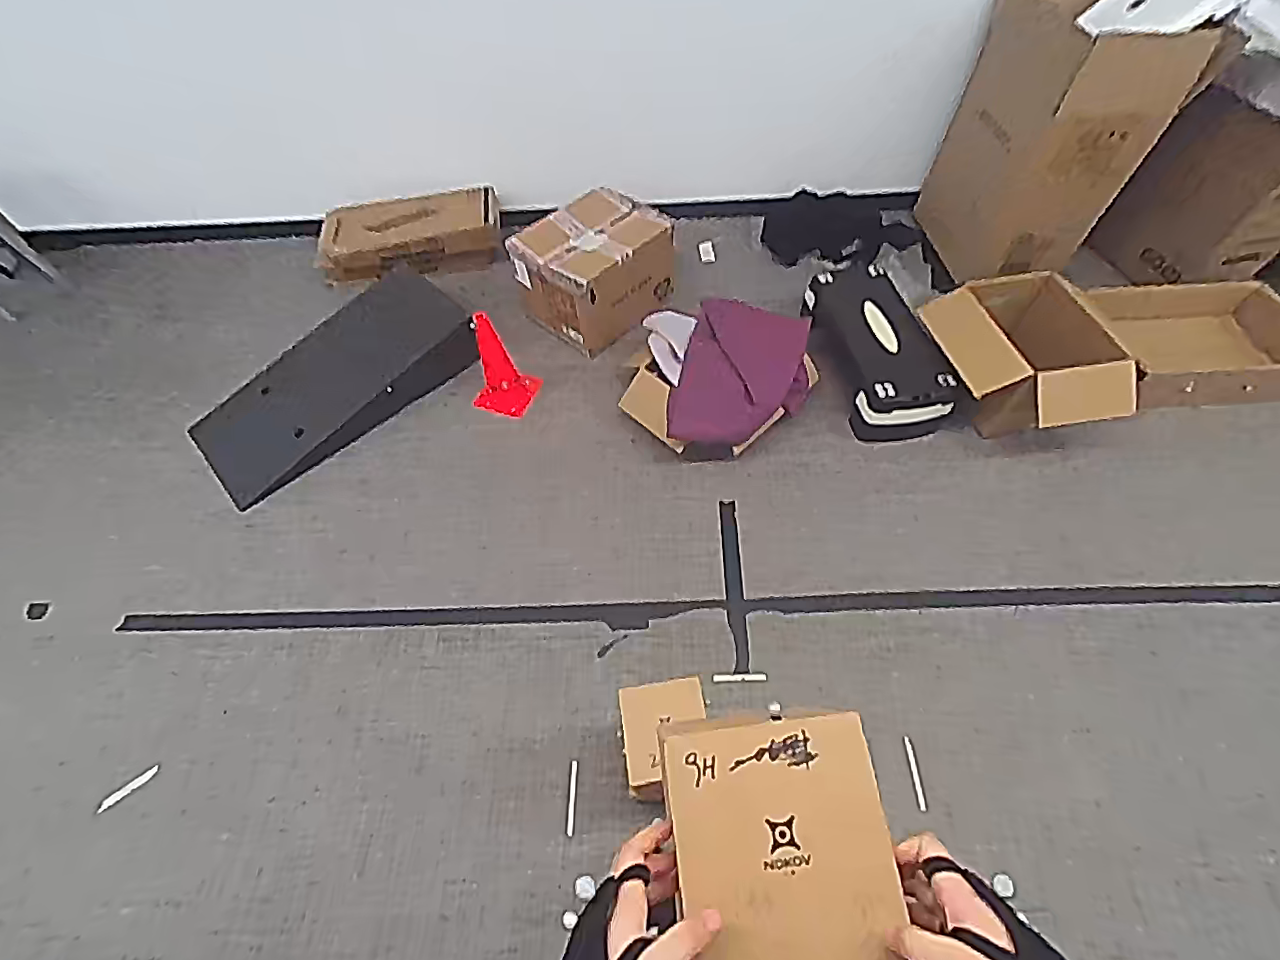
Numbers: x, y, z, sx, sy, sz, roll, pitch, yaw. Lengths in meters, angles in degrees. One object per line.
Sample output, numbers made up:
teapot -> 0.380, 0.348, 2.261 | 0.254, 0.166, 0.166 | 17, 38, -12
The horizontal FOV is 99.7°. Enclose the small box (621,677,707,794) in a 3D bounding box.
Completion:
small box -> 0.056, 0.521, 1.099 | 0.168, 0.176, 0.179 | -9, 56, -1

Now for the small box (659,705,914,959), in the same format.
small box -> 0.109, 0.309, 0.486 | 0.168, 0.176, 0.179 | -7, 70, -2
